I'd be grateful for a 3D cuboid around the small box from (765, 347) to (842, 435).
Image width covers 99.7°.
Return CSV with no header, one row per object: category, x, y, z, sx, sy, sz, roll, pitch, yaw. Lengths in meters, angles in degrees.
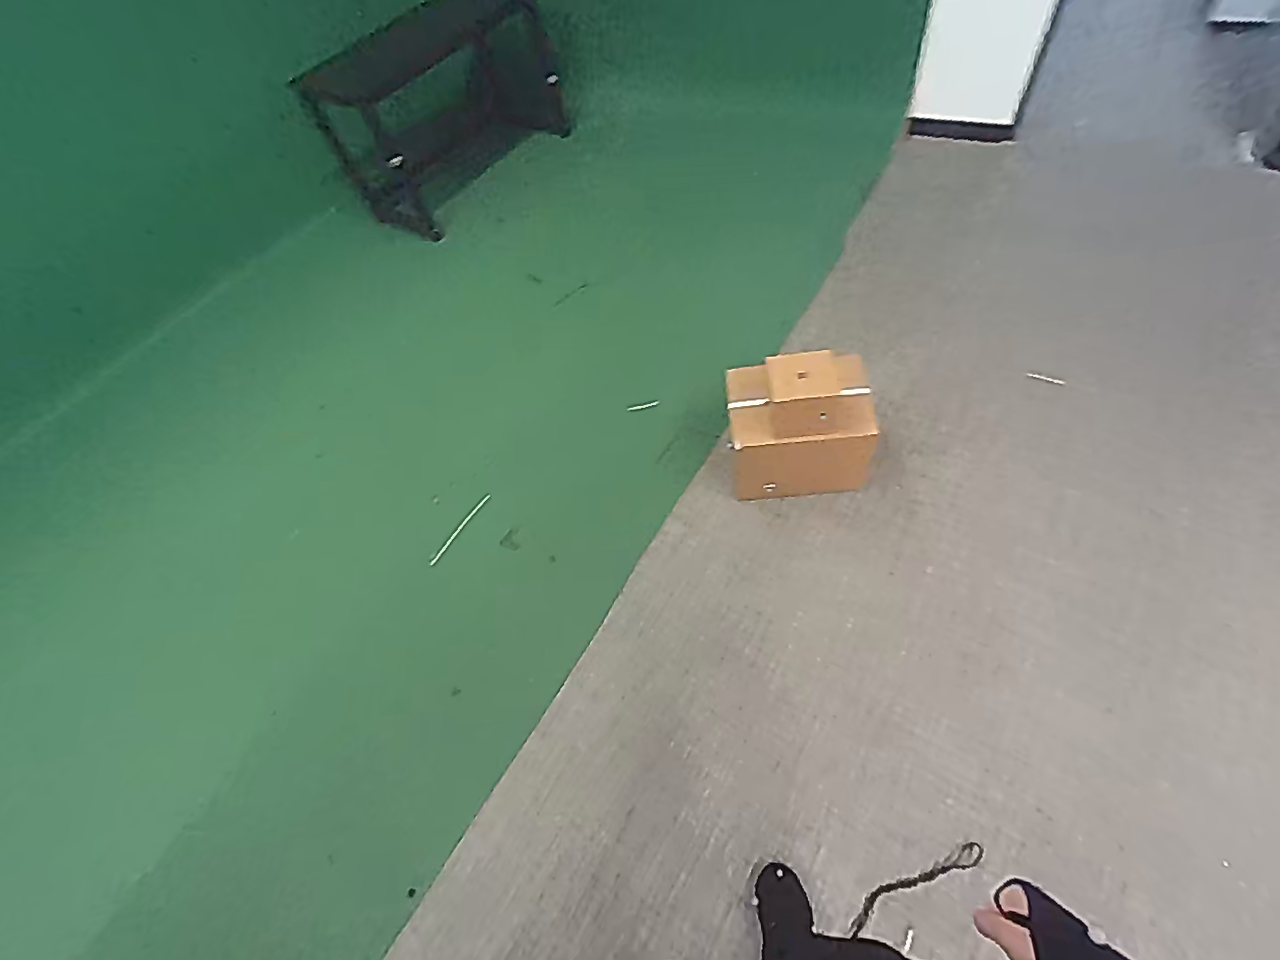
small box,0.444,-0.242,1.497,0.179,0.176,0.168,-5,58,9
